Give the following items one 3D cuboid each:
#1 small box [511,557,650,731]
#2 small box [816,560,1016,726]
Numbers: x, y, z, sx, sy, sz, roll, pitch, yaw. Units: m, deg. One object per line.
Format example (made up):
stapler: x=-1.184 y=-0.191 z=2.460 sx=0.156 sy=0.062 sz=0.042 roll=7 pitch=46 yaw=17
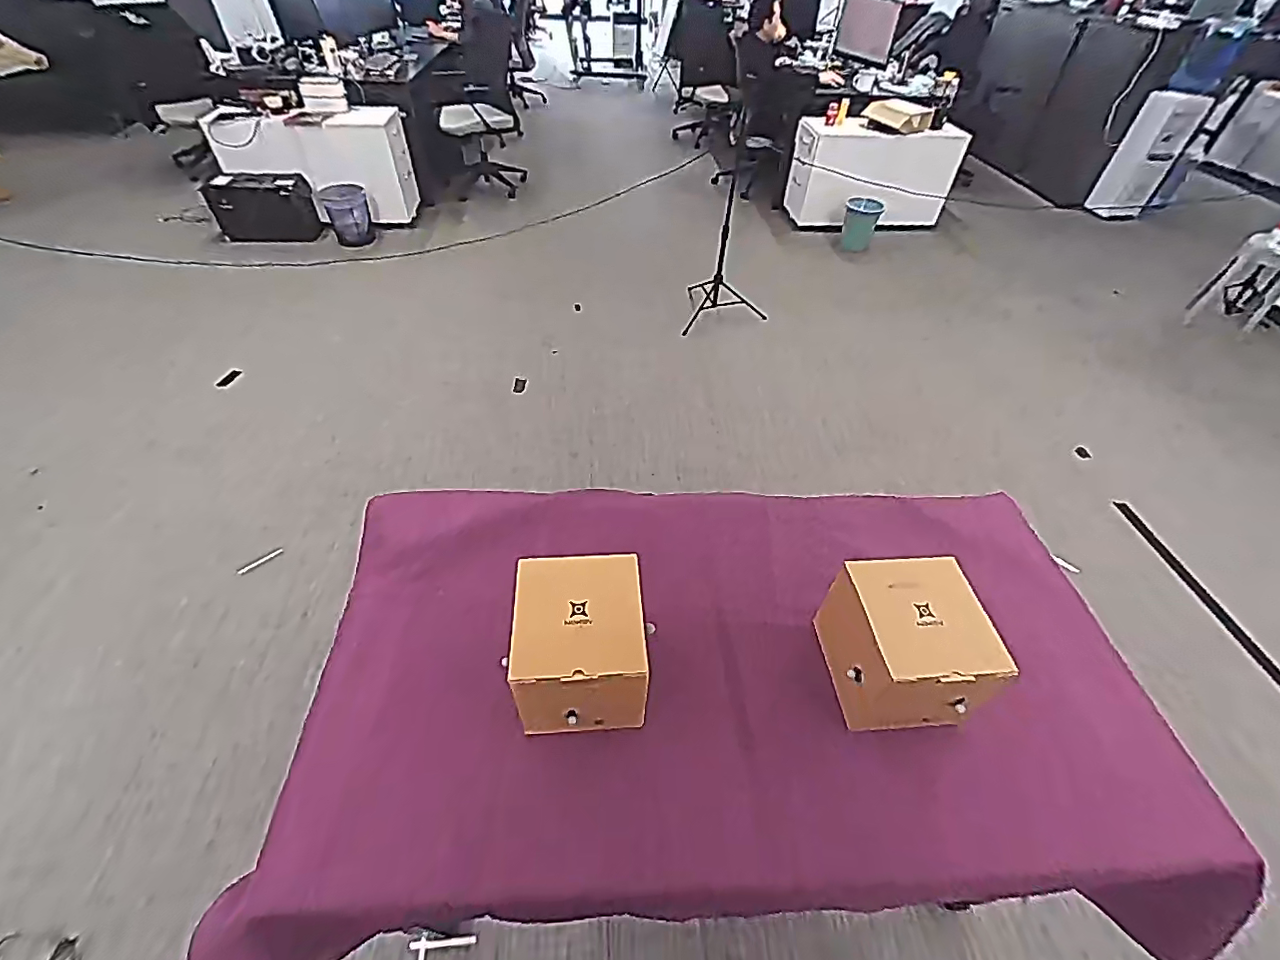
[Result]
small box: x=-0.080 y=0.226 z=0.748 sx=0.168 sy=0.176 sz=0.179 roll=-2 pitch=47 yaw=-5
small box: x=0.369 y=0.234 z=0.763 sx=0.168 sy=0.176 sz=0.179 roll=-1 pitch=46 yaw=-5
